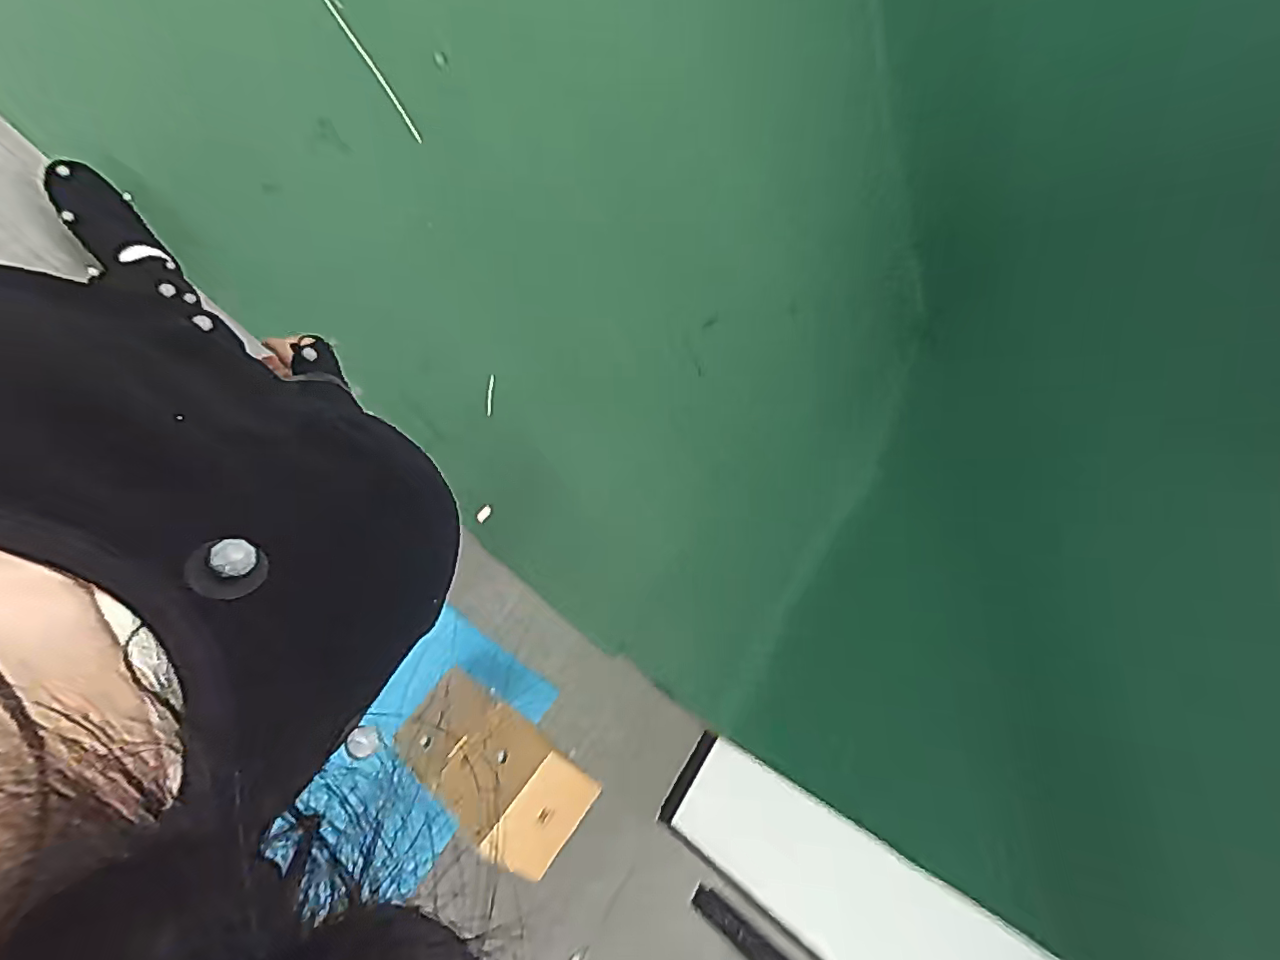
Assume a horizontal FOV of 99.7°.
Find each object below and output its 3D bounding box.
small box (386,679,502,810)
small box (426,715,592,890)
[{"bbox_3d":[-0.336,0.502,1.010,0.168,0.176,0.179,-49,130,-22],"label":"small box"},{"bbox_3d":[-0.219,0.525,0.900,0.168,0.176,0.179,-48,131,-23],"label":"small box"}]
